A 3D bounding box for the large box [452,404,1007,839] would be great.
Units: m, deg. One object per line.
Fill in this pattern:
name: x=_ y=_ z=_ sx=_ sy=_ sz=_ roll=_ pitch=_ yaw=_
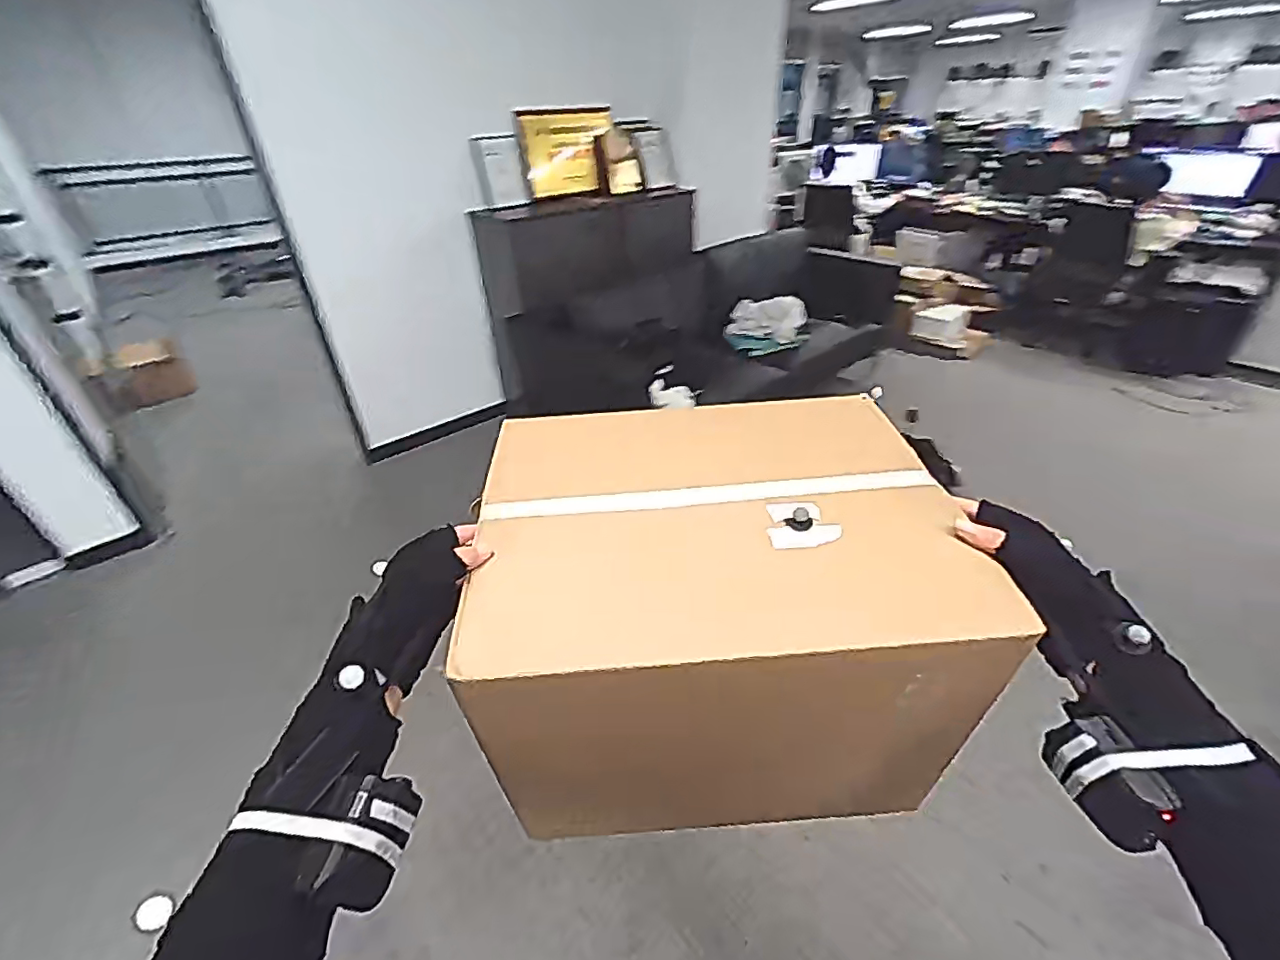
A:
large box: x=0.058 y=0.140 z=0.581 sx=0.408 sy=0.320 sz=0.320 roll=-5 pitch=40 yaw=-2
